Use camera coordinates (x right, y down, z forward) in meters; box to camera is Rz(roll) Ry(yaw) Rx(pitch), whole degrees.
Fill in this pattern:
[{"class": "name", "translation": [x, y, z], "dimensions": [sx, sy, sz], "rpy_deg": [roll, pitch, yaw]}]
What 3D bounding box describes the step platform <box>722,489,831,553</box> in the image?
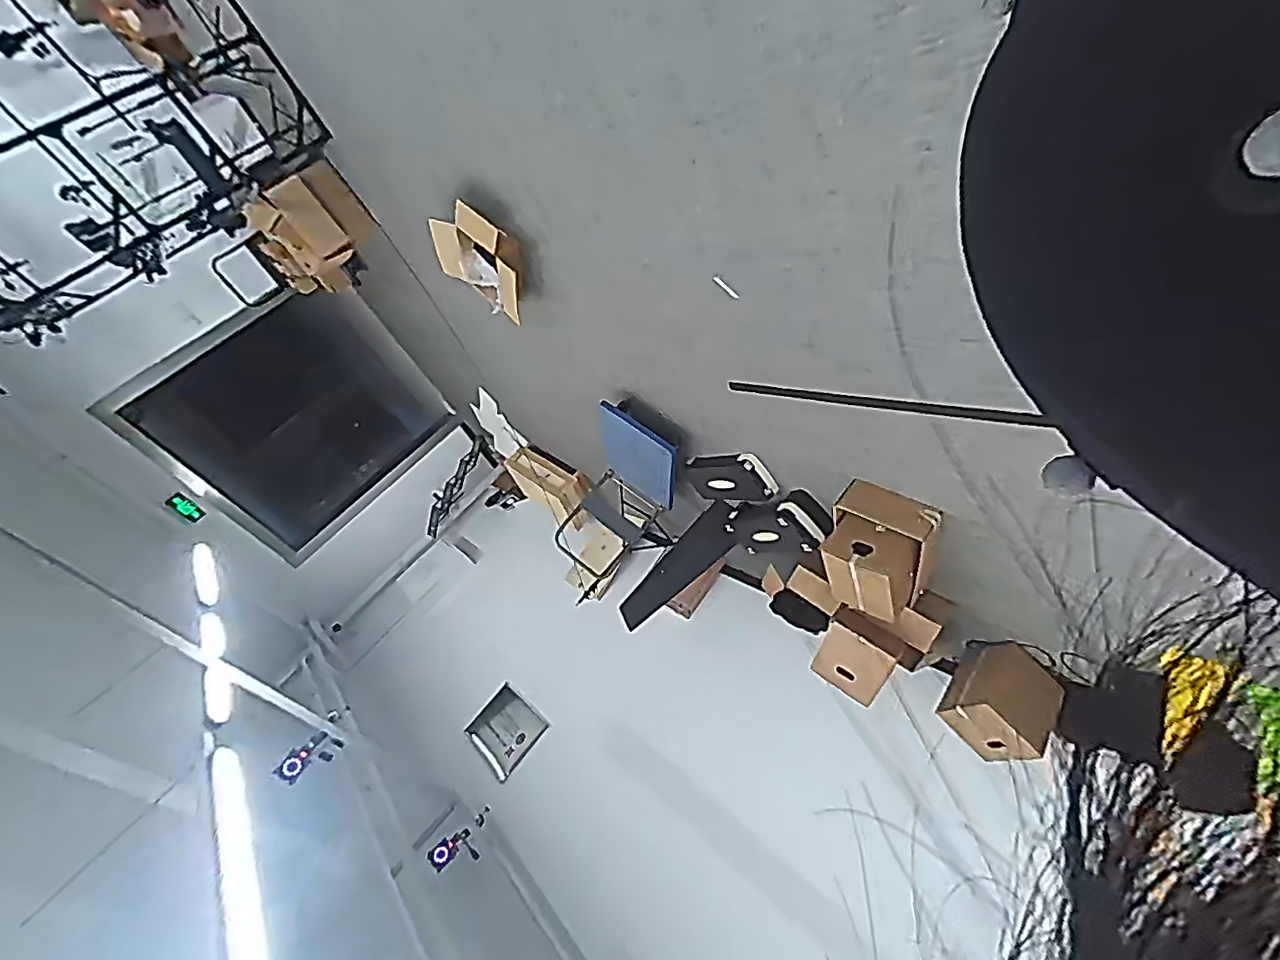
[{"class": "step platform", "translation": [0.755, 0.253, 3.109], "dimensions": [0.286, 0.204, 0.684], "rpy_deg": [46, 158, -8]}]
